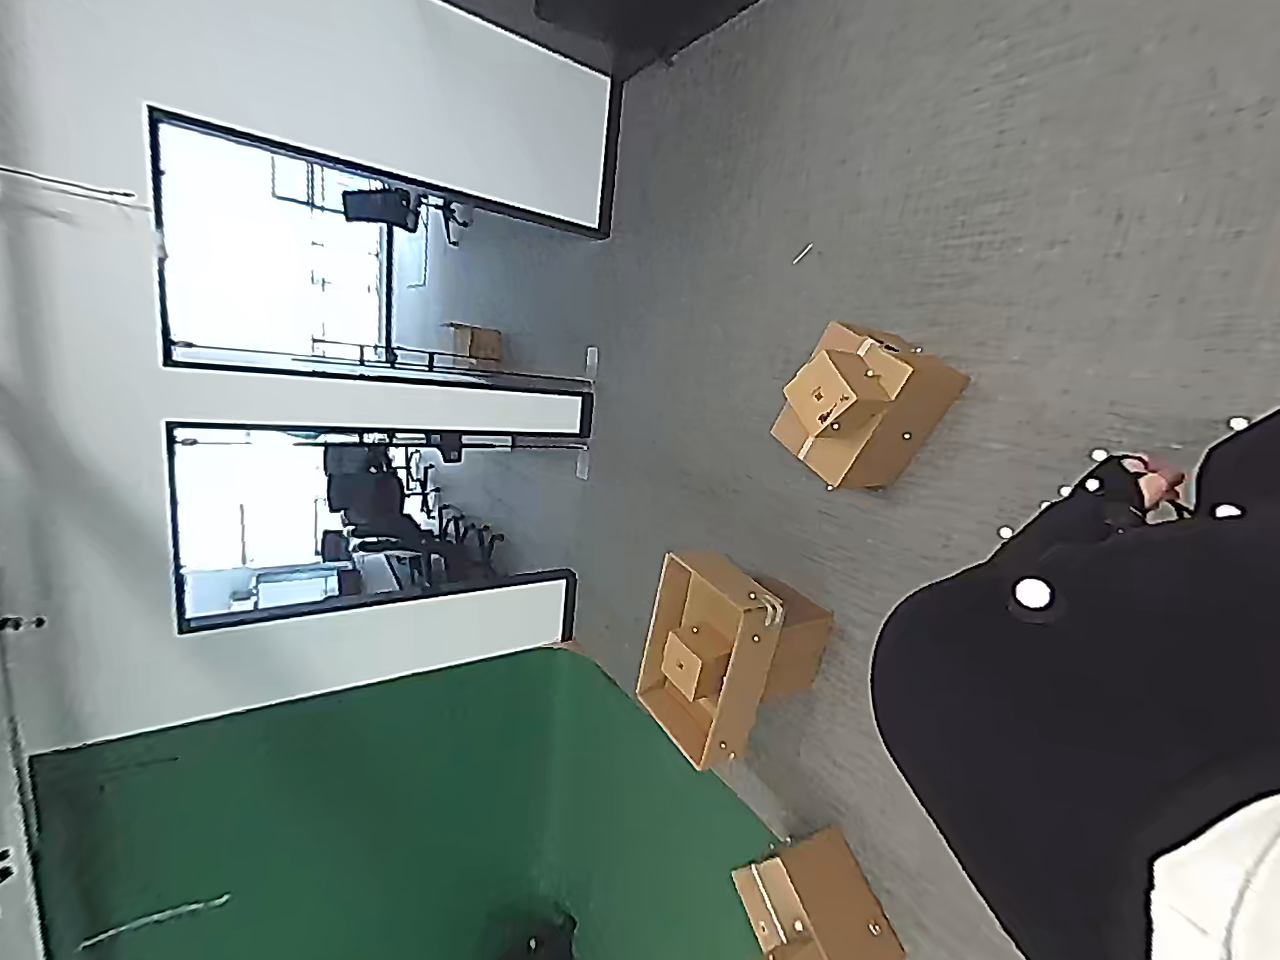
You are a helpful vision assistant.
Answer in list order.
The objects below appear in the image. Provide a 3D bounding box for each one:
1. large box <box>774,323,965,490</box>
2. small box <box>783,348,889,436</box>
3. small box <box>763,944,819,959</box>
[{"bbox_3d":[0.696,-0.225,1.676,0.320,0.320,0.408,52,132,41],"label":"large box"},{"bbox_3d":[0.534,-0.232,1.476,0.168,0.176,0.179,-49,54,44],"label":"small box"},{"bbox_3d":[0.459,1.548,1.640,0.179,0.176,0.168,-54,48,41],"label":"small box"}]
